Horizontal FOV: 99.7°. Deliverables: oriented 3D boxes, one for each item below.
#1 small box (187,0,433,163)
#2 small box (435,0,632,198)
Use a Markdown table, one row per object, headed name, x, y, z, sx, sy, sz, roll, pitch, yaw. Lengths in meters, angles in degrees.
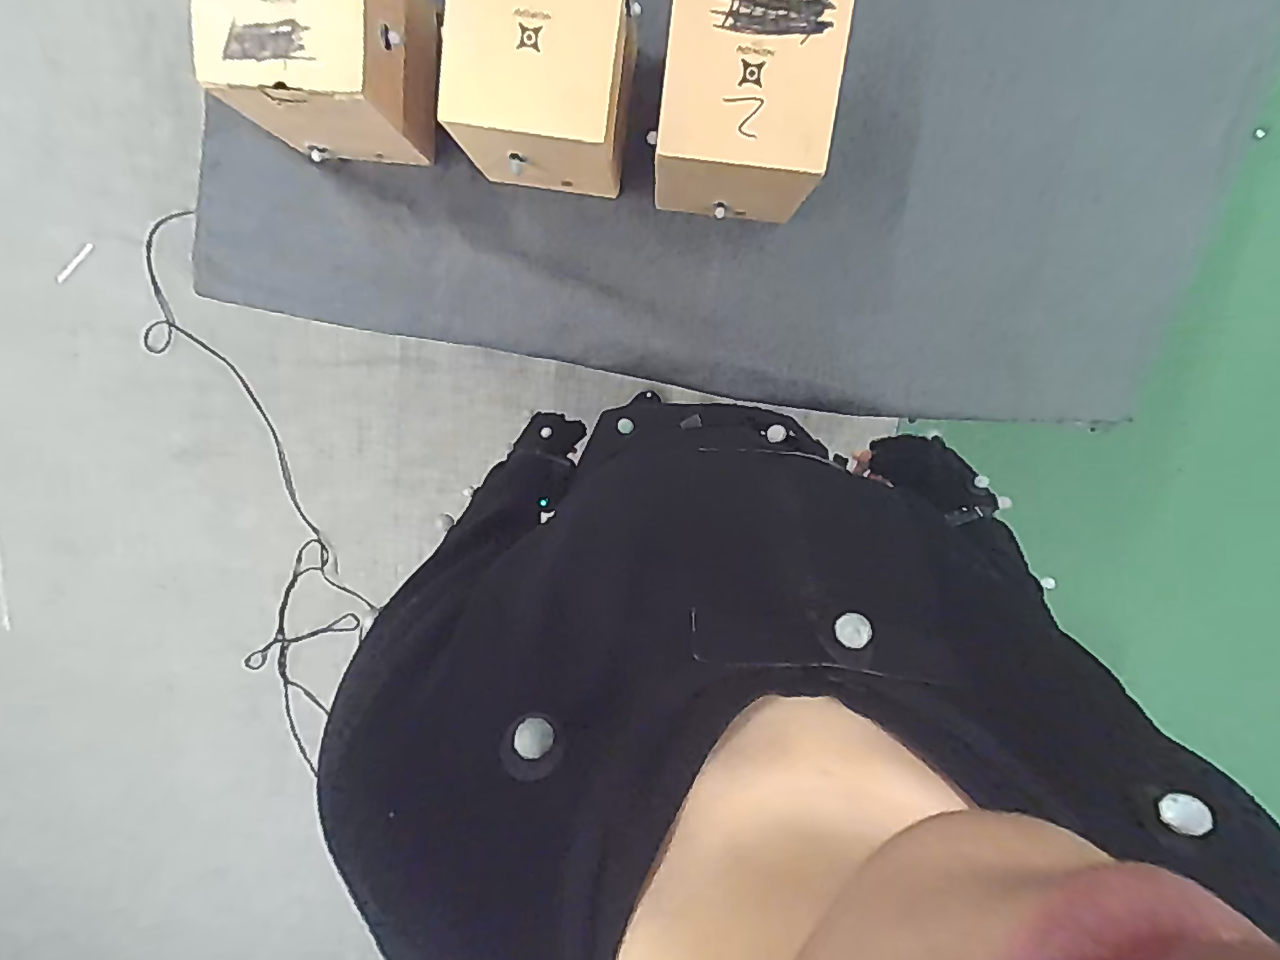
| name | x | y | z | sx | sy | sz | roll | pitch | yaw |
| --- | --- | --- | --- | --- | --- | --- | --- | --- | --- |
| small box | -0.334 | -0.466 | 0.577 | 0.168 | 0.176 | 0.179 | 5 | 99 | 1 |
| small box | -0.101 | -0.427 | 0.579 | 0.168 | 0.176 | 0.179 | 8 | 100 | 0 |
